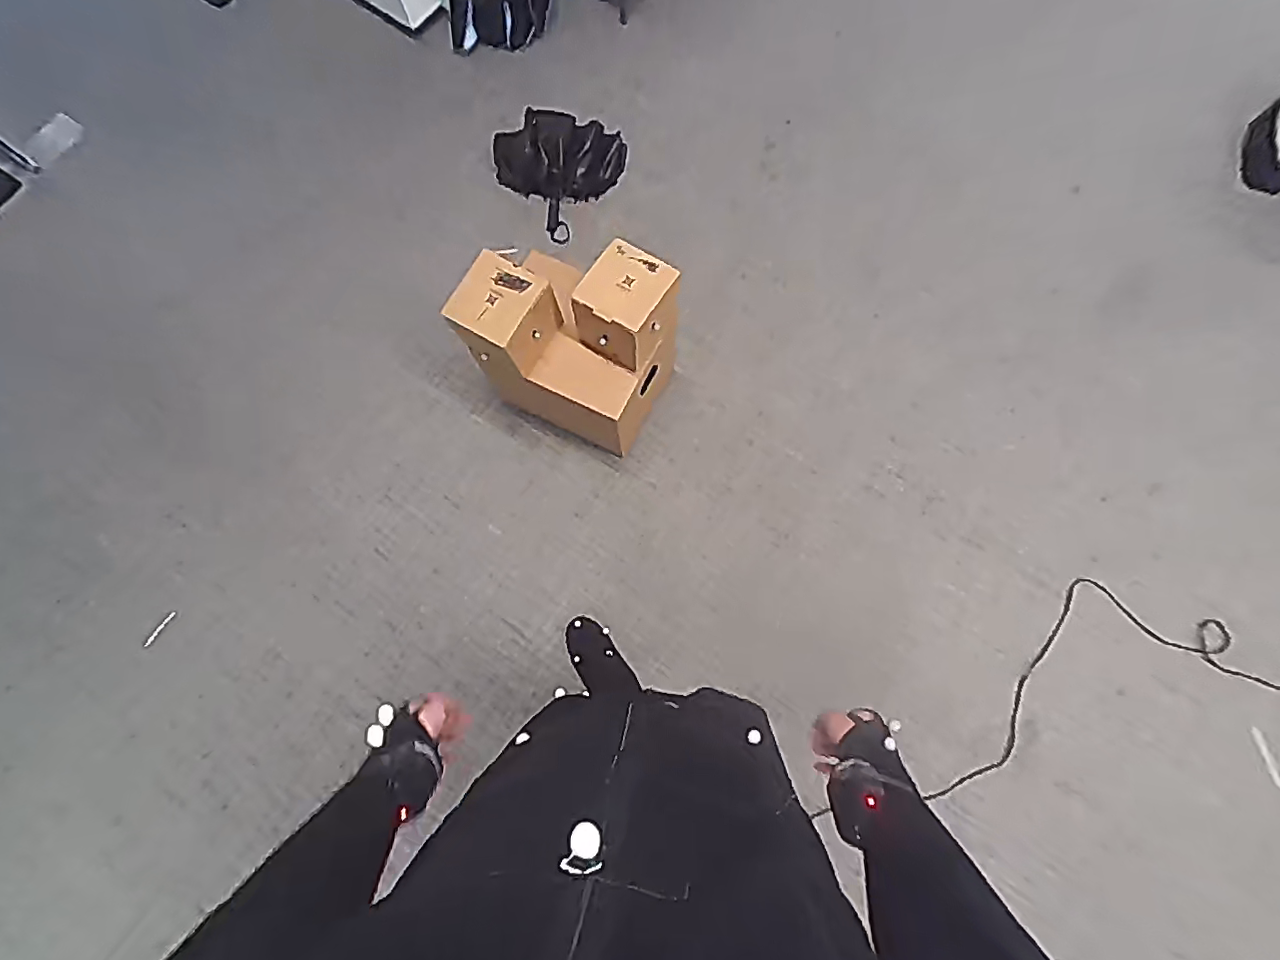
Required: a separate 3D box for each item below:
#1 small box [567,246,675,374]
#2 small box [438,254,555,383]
[{"bbox_3d":[-0.037,-0.366,1.195,0.168,0.176,0.179,32,76,9],"label":"small box"},{"bbox_3d":[-0.304,-0.348,1.192,0.168,0.176,0.179,30,80,8],"label":"small box"}]
